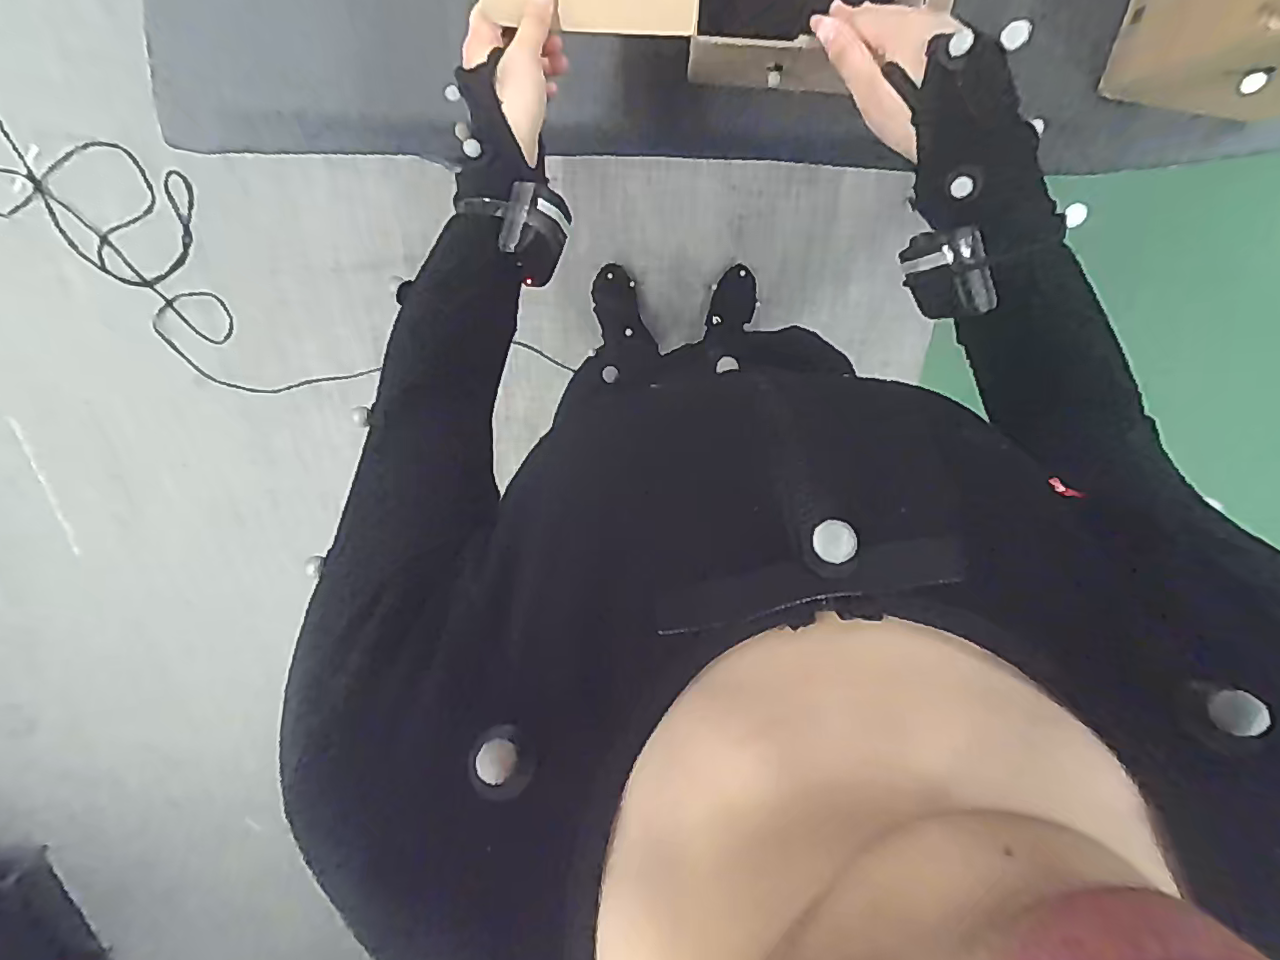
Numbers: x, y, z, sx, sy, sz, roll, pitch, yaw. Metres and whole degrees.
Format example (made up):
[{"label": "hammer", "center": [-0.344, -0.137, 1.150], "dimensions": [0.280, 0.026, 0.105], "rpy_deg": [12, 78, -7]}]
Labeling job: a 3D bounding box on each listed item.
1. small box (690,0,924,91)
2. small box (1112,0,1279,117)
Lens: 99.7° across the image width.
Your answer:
[{"label": "small box", "center": [0.139, -0.450, 0.463], "dimensions": [0.179, 0.176, 0.168], "rpy_deg": [5, 117, 2]}, {"label": "small box", "center": [0.569, -0.432, 0.456], "dimensions": [0.179, 0.176, 0.168], "rpy_deg": [8, 111, -1]}]
